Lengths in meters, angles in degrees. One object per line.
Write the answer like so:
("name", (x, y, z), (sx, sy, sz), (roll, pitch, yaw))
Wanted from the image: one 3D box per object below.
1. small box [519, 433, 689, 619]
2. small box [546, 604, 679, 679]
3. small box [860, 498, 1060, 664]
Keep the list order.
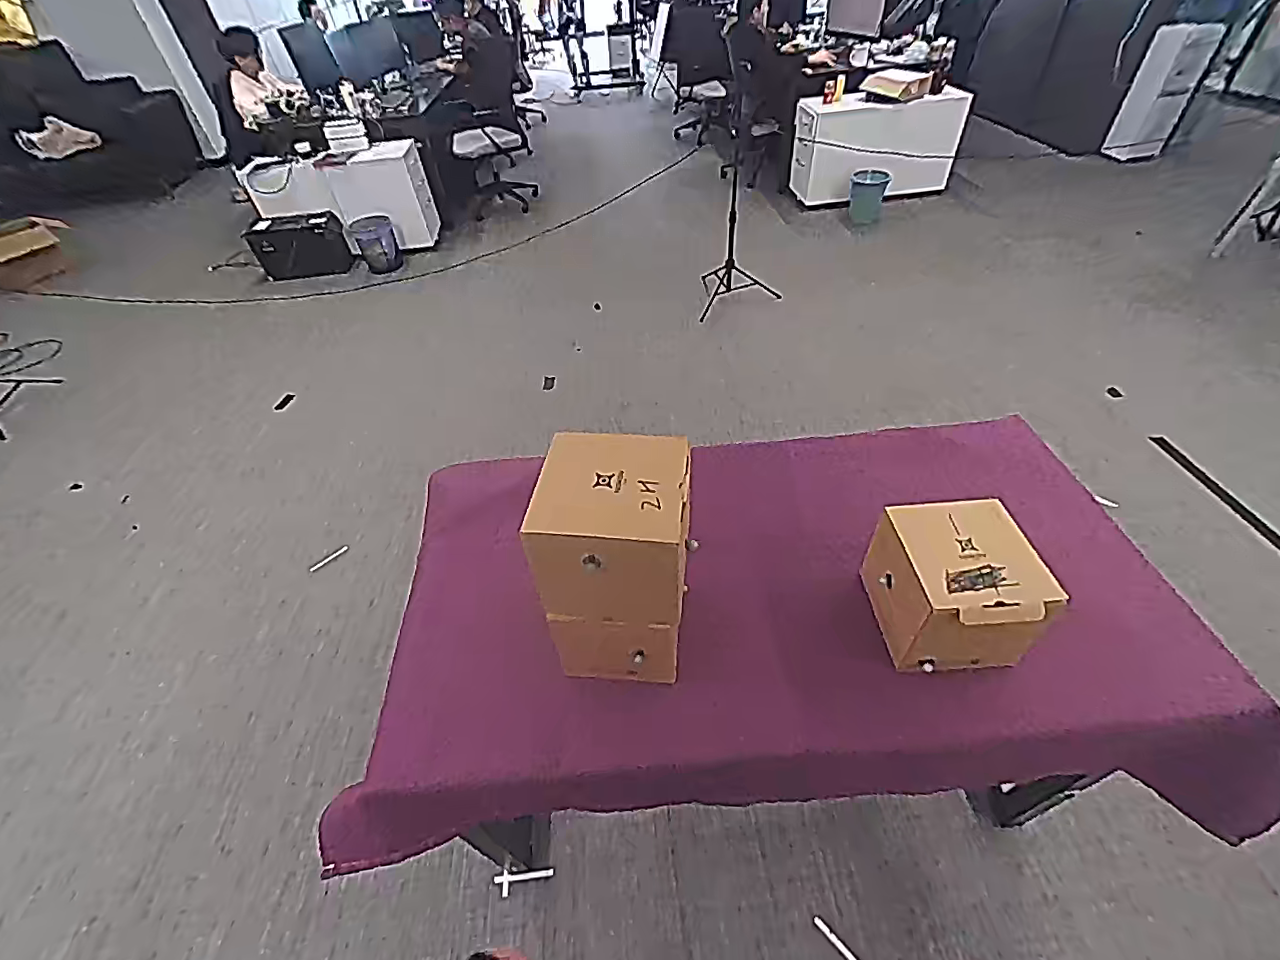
("small box", (-0.031, 0.059, 0.682), (0.179, 0.176, 0.168), (4, 47, 7))
("small box", (-0.026, 0.175, 0.798), (0.168, 0.176, 0.179), (2, 46, 7))
("small box", (0.437, 0.150, 0.775), (0.168, 0.176, 0.179), (-4, 44, 2))
